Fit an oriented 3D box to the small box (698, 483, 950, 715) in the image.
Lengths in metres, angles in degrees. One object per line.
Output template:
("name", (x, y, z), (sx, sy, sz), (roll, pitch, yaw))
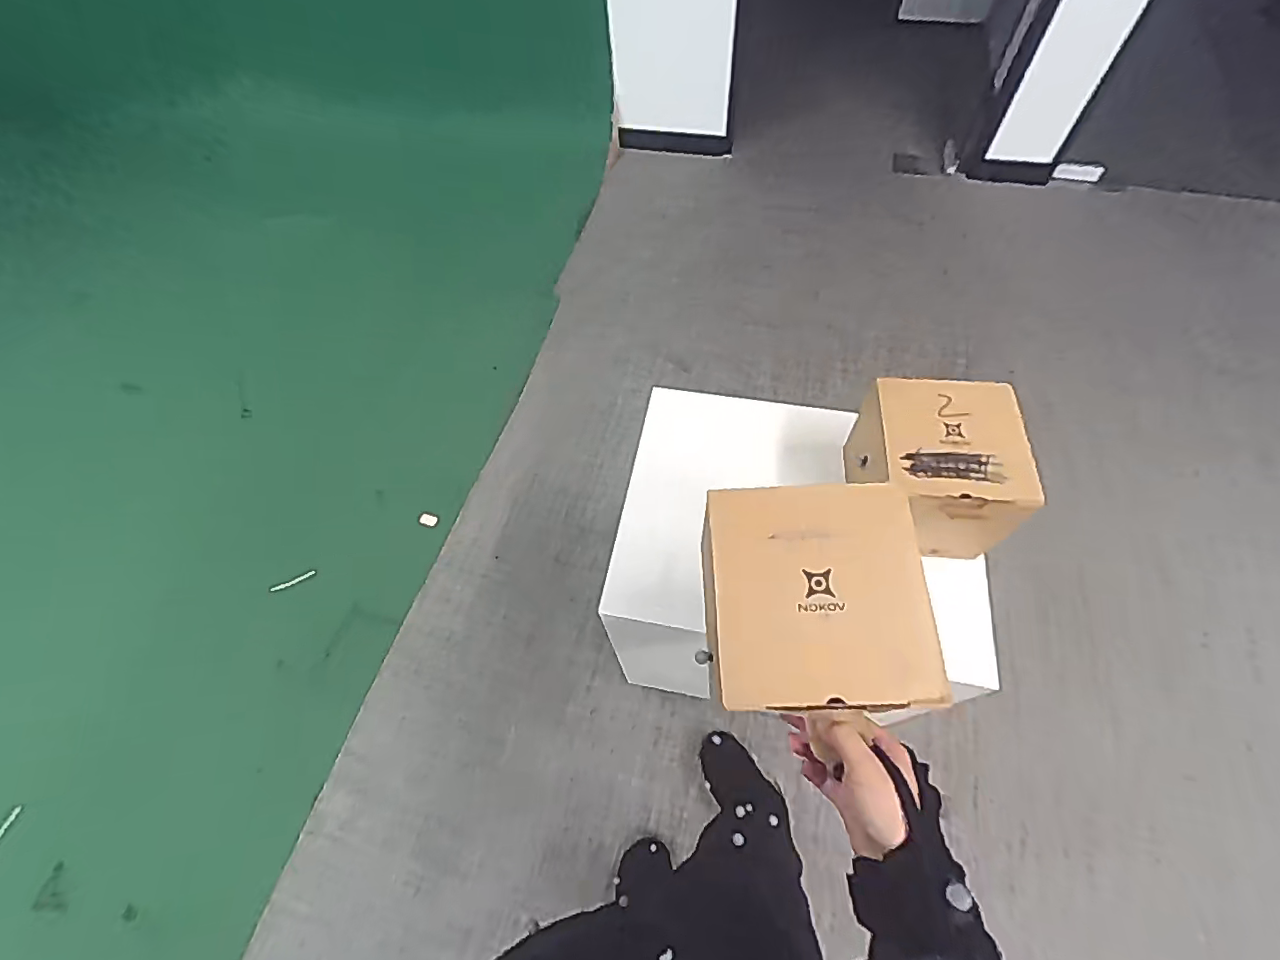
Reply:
("small box", (0.143, 0.115, 0.494), (0.168, 0.176, 0.179), (-2, 67, 1))
